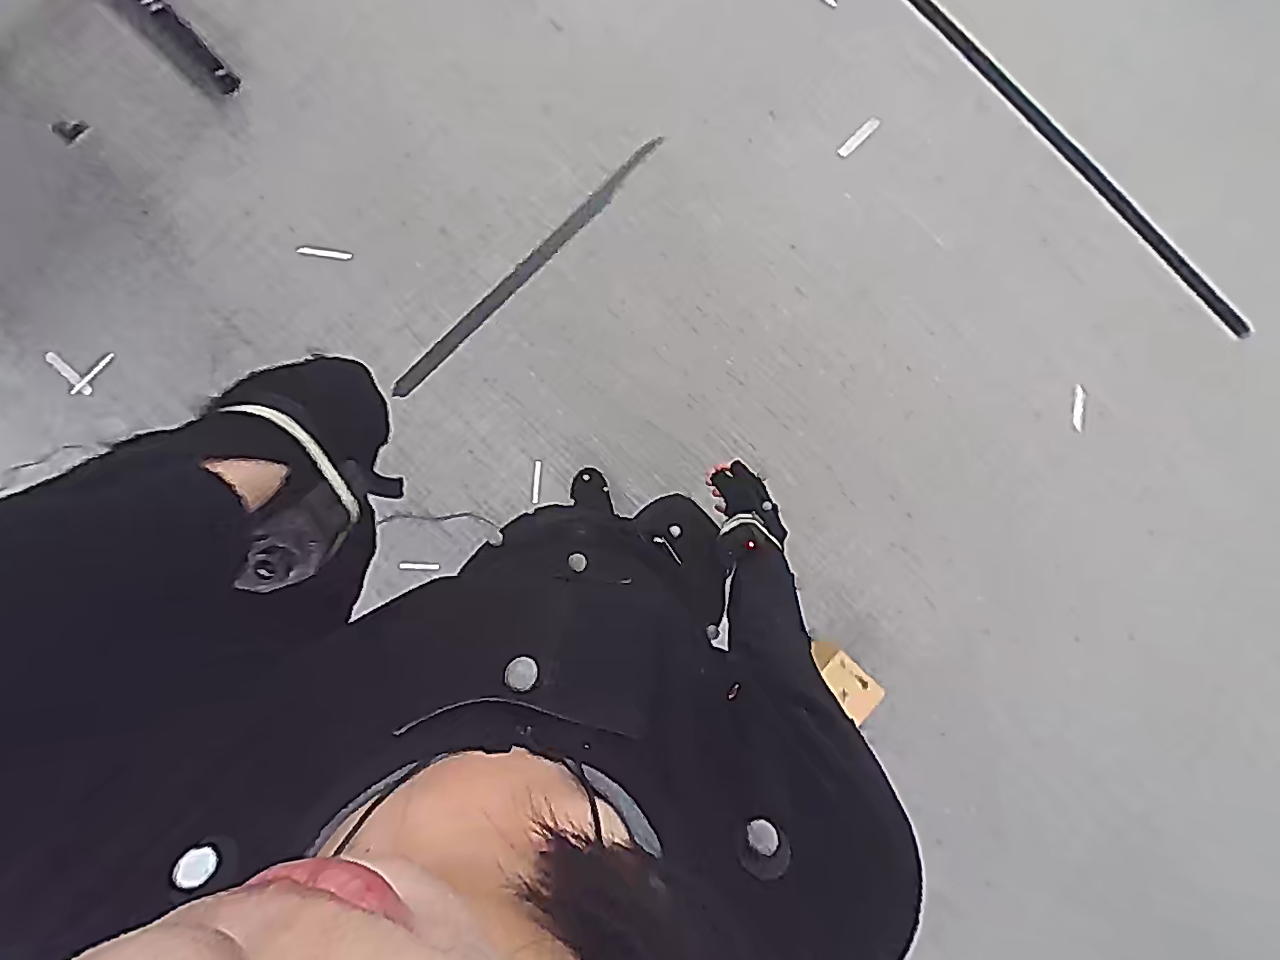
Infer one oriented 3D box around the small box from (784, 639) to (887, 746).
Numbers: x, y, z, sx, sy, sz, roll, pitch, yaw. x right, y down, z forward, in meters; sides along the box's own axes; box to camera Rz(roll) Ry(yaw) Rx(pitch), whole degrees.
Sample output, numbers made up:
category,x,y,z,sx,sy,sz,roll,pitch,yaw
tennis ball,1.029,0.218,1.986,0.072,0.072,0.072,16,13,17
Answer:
category,x,y,z,sx,sy,sz,roll,pitch,yaw
small box,0.508,0.558,1.443,0.168,0.176,0.179,44,88,-1
